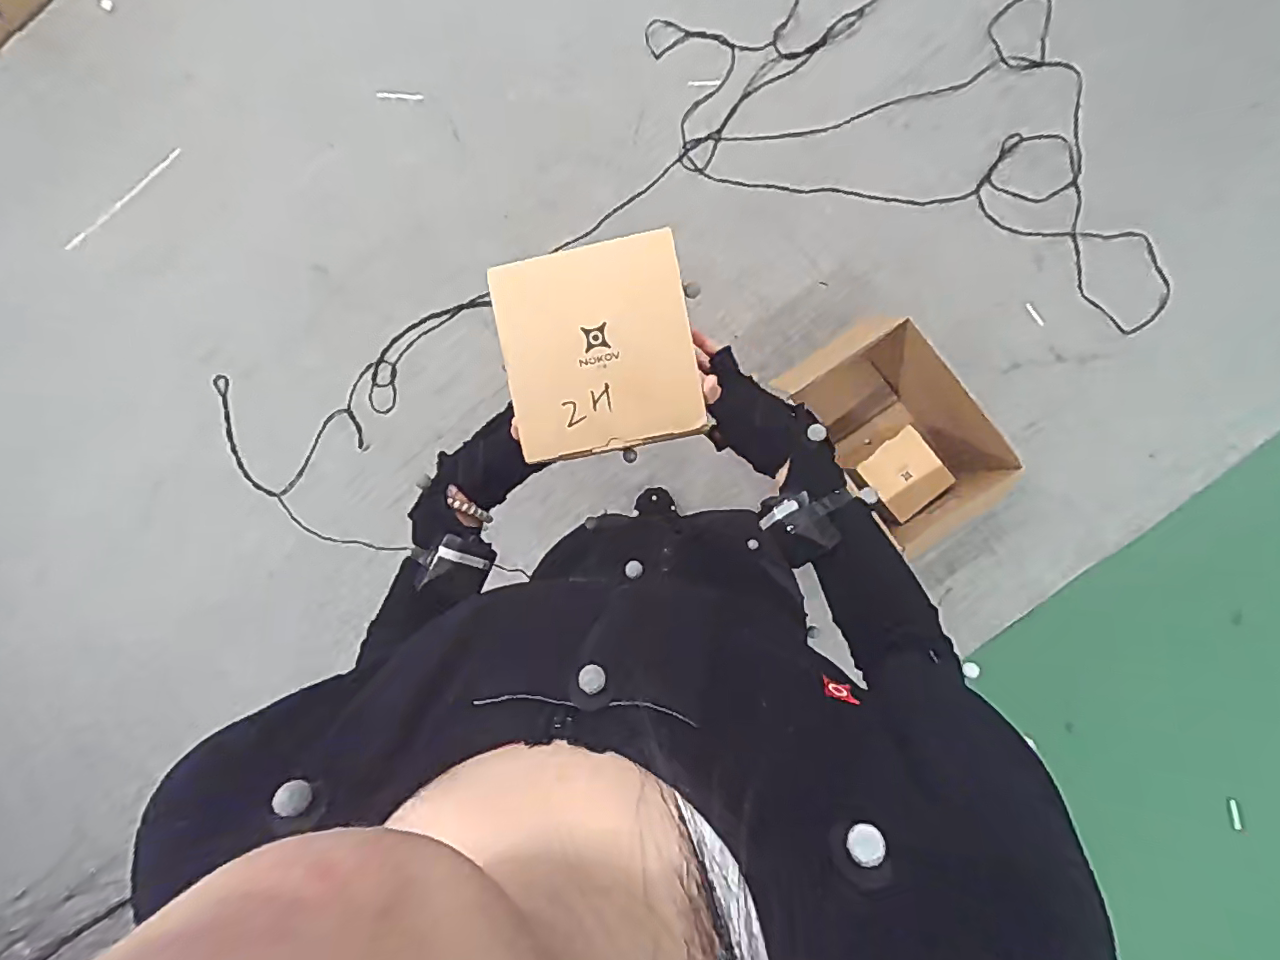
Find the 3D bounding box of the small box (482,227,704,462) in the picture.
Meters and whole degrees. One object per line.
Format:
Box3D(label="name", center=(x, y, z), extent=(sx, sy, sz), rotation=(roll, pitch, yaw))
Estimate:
Box3D(label="small box", center=(-0.036, -0.117, 0.539), extent=(0.168, 0.176, 0.179), rotation=(-11, 93, 5))
